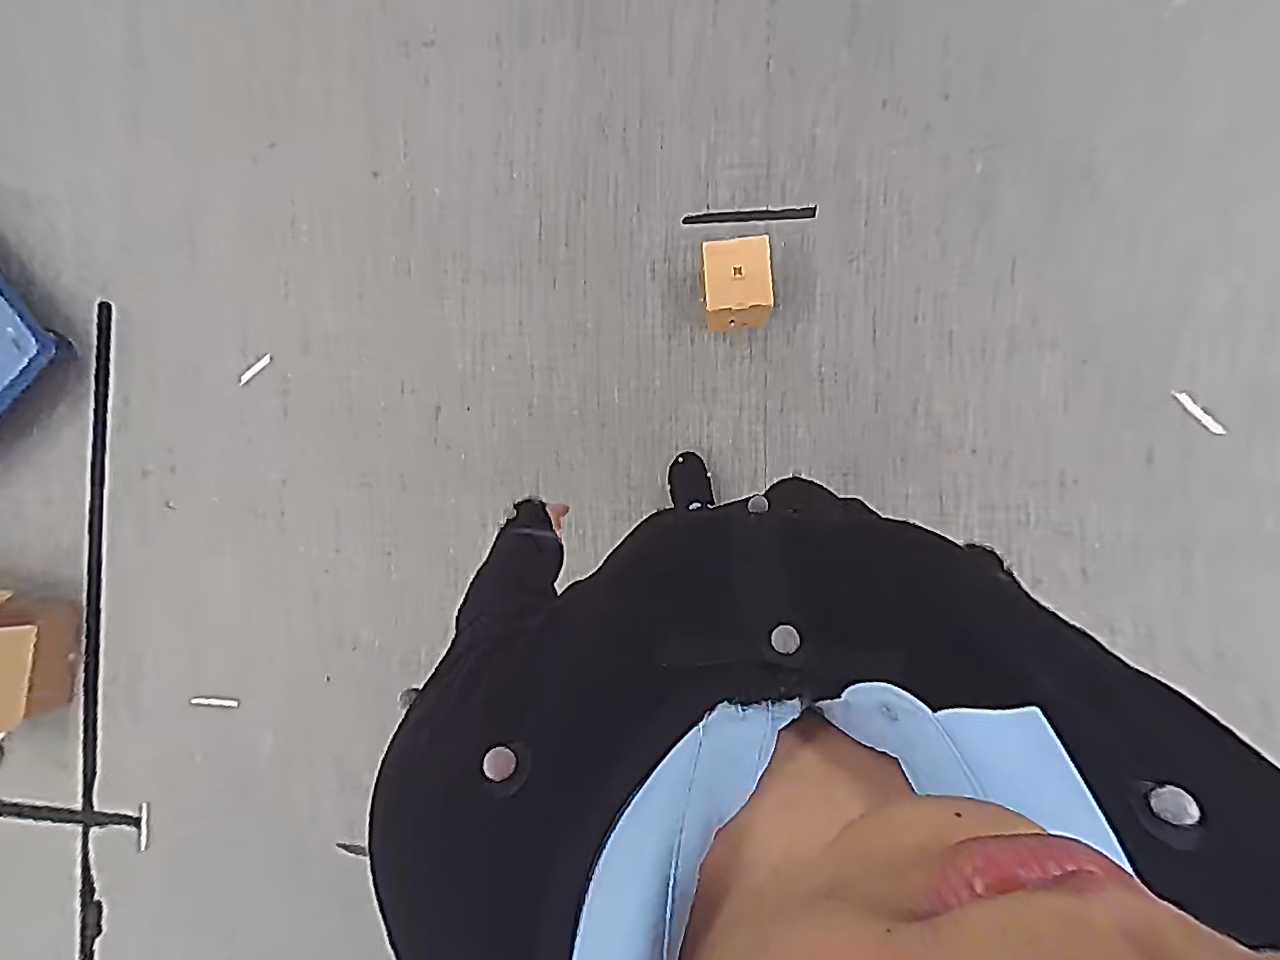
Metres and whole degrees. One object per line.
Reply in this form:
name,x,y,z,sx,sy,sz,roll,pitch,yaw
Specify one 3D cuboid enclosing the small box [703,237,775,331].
small box,0.253,-0.505,1.414,0.168,0.176,0.179,-5,89,6
